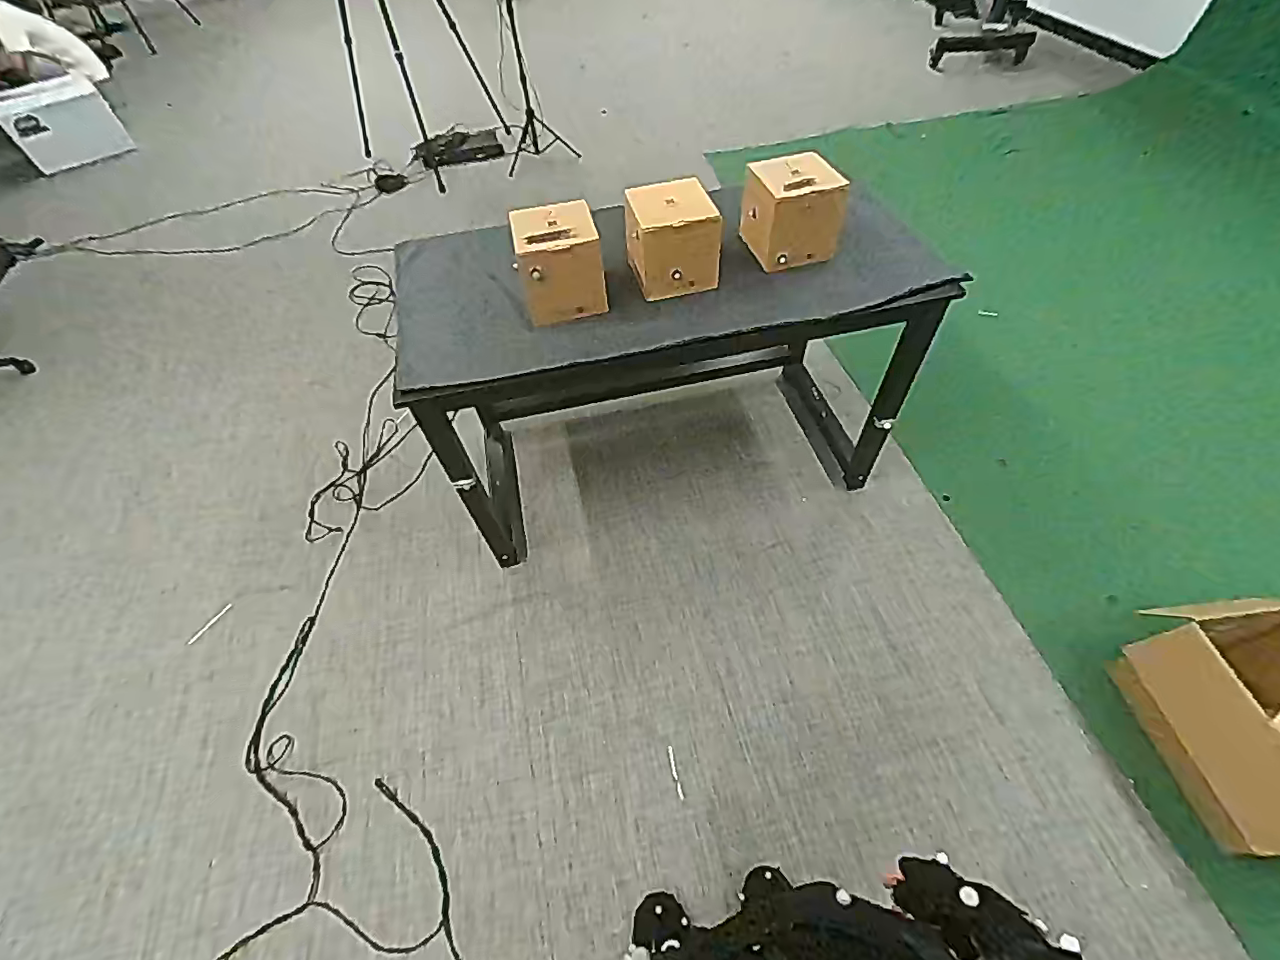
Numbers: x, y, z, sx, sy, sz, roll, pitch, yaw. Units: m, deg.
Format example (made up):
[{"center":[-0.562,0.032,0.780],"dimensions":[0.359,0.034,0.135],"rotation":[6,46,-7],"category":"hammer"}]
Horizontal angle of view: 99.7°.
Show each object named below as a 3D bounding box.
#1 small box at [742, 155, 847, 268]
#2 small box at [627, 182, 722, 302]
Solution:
[{"center":[0.340,-0.601,1.226],"dimensions":[0.168,0.176,0.179],"rotation":[-14,53,-6],"category":"small box"},{"center":[0.070,-0.522,1.191],"dimensions":[0.168,0.176,0.179],"rotation":[-13,54,-6],"category":"small box"}]
